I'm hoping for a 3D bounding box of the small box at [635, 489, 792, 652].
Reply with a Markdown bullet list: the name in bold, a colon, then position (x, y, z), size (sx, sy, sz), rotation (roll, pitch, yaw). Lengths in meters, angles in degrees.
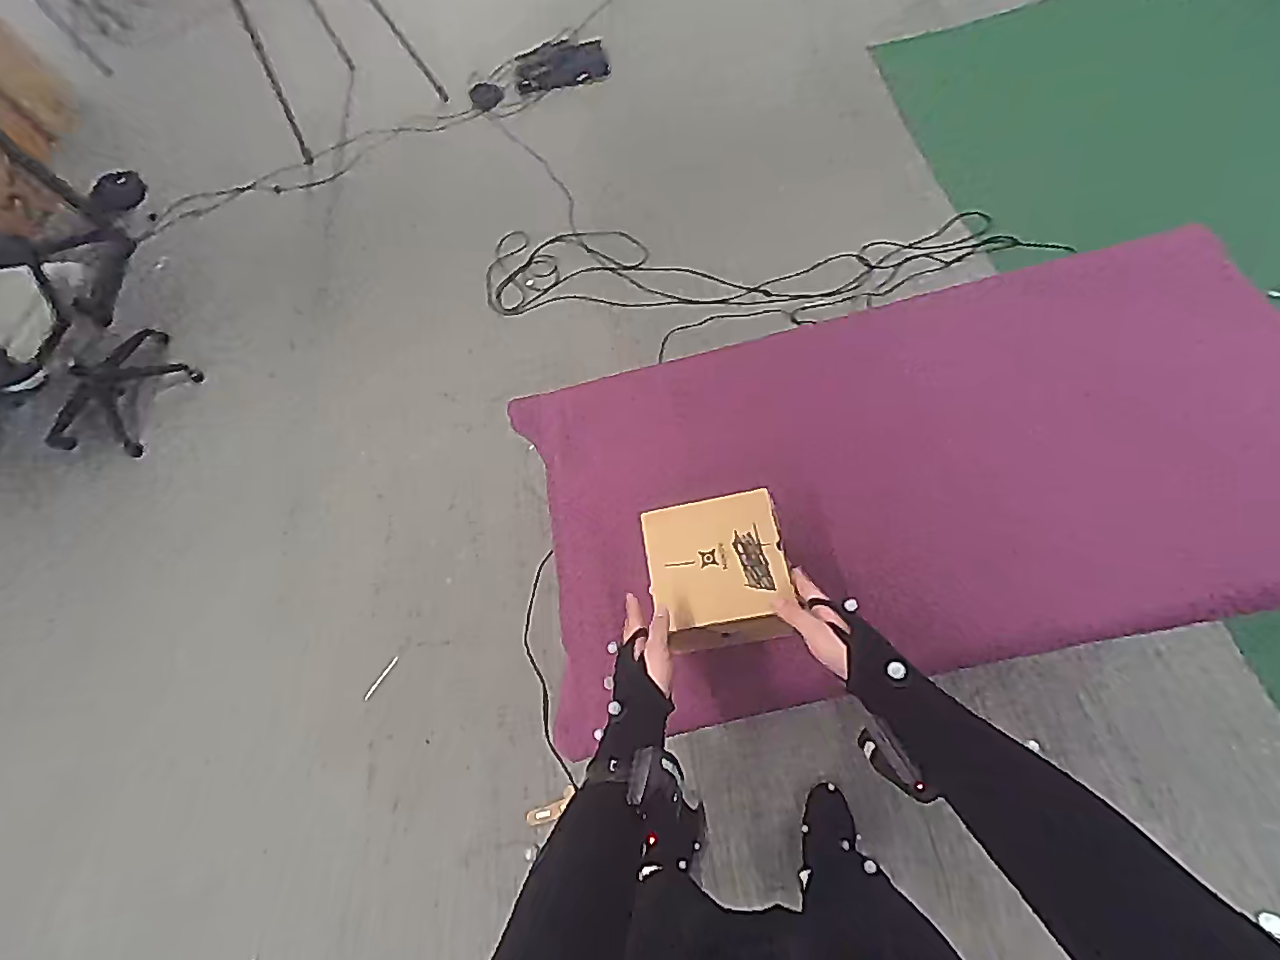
- **small box**: position (0.102, 0.133, 0.750), size (0.179, 0.176, 0.168), rotation (-12, 62, 8)
